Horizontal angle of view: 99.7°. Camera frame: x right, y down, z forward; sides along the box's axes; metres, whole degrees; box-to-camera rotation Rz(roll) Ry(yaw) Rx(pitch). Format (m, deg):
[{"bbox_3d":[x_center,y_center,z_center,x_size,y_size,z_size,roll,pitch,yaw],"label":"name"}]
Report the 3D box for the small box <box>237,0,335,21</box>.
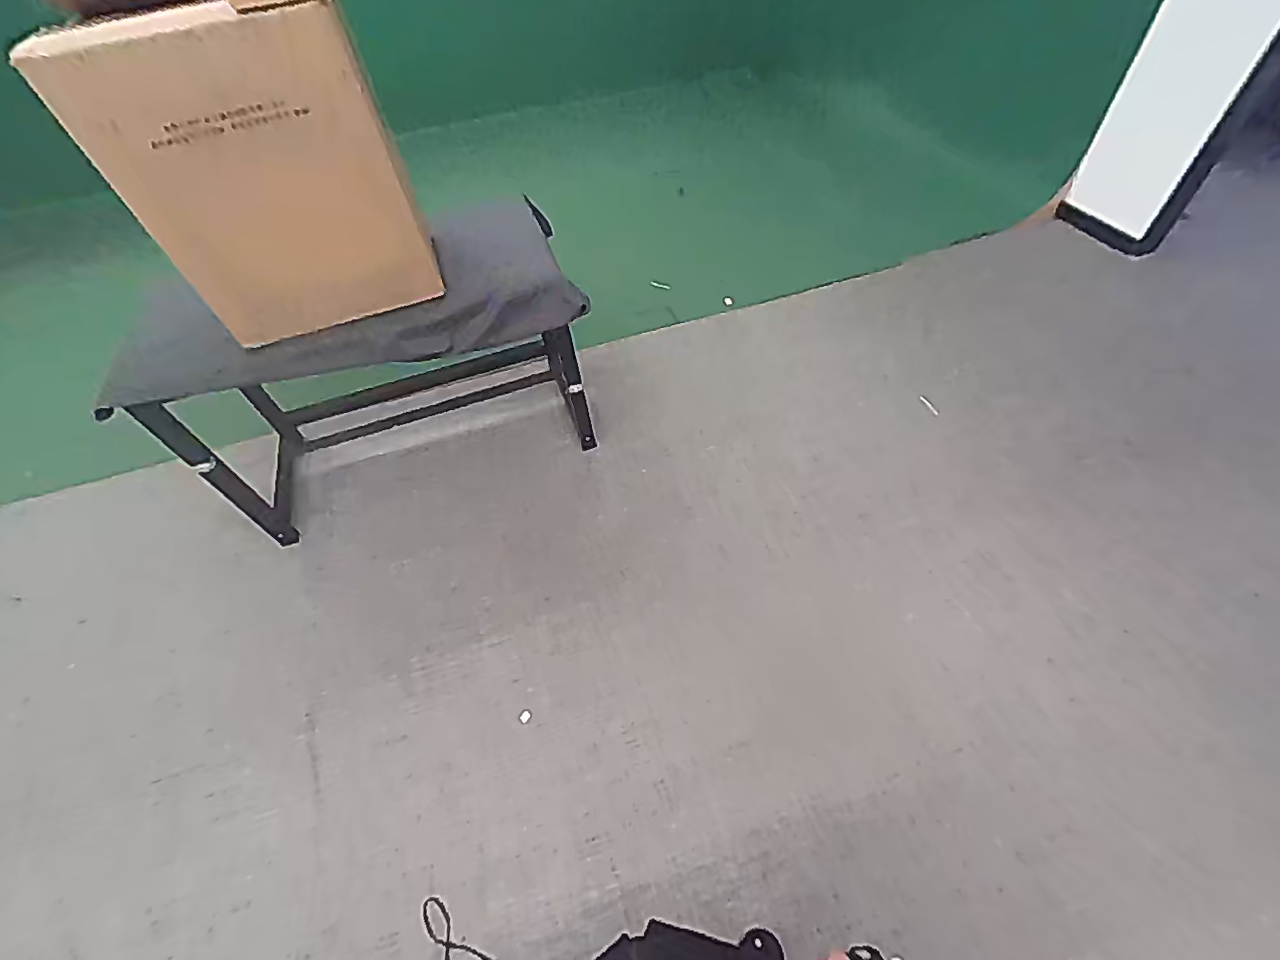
[{"bbox_3d":[-0.687,-0.979,1.000,0.168,0.176,0.179,-19,53,-10],"label":"small box"}]
